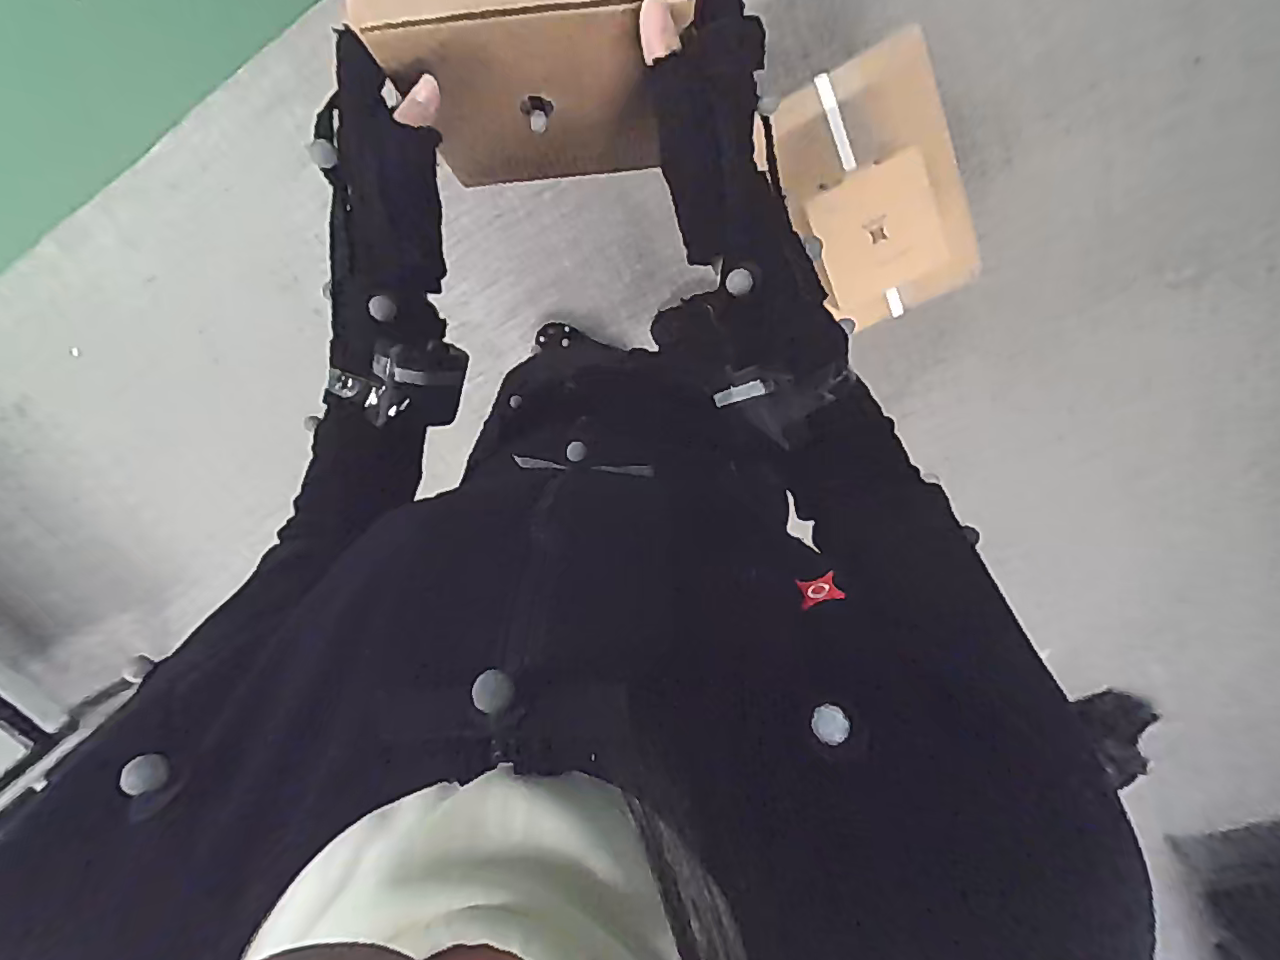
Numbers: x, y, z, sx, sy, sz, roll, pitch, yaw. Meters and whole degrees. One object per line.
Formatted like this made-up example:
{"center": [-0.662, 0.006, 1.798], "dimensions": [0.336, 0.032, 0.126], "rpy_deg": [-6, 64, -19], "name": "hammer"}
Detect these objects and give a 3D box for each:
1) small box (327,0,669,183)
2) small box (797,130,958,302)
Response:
{"center": [-0.077, -0.321, 0.346], "dimensions": [0.179, 0.176, 0.168], "rpy_deg": [-7, 93, 3], "name": "small box"}
{"center": [0.361, -0.407, 0.850], "dimensions": [0.168, 0.176, 0.179], "rpy_deg": [-23, 112, 17], "name": "small box"}
